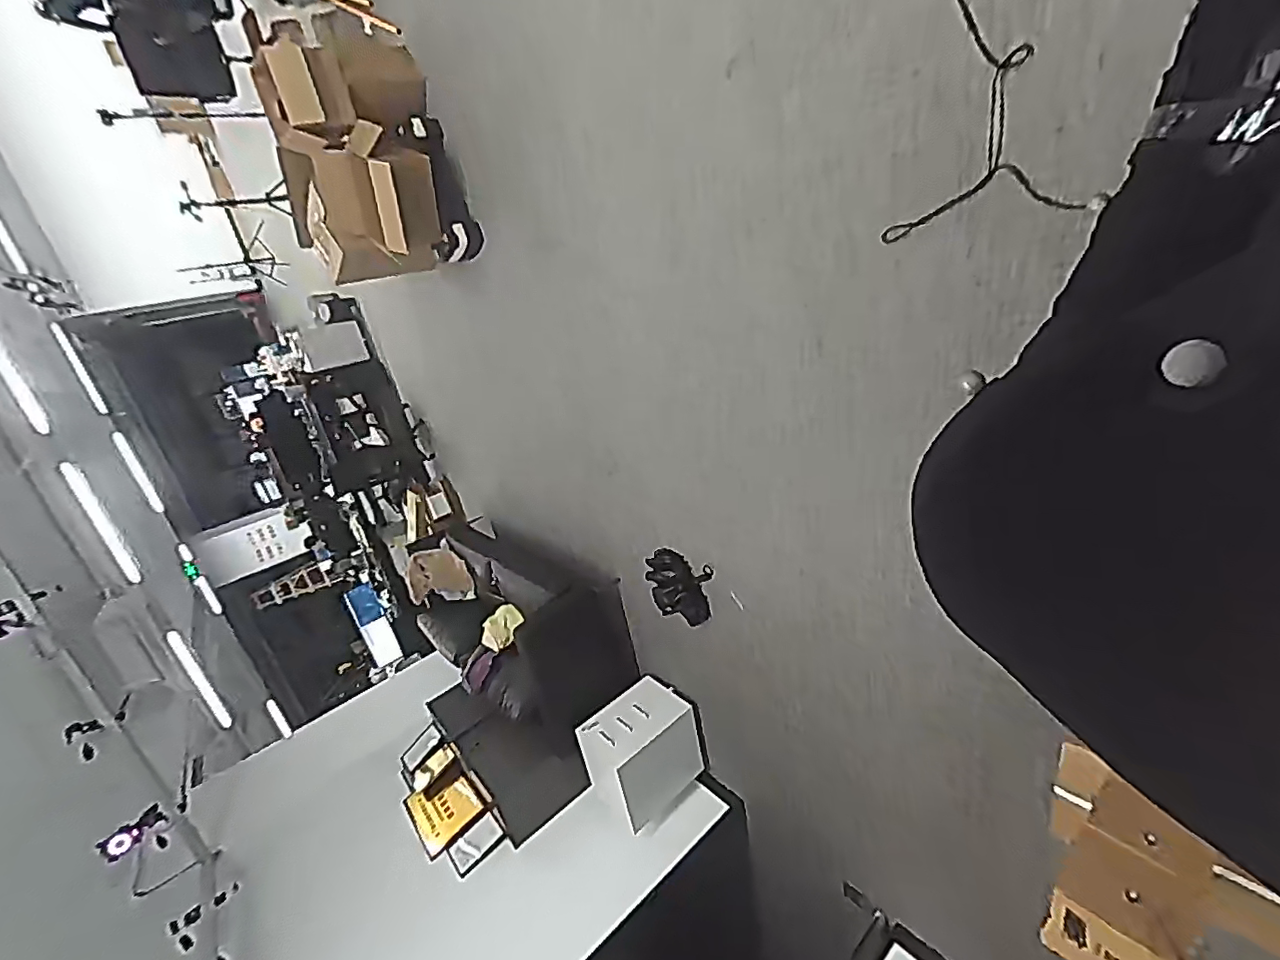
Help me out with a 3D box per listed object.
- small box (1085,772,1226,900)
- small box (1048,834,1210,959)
[{"bbox_3d":[1.014,0.733,1.076,0.179,0.176,0.168,22,127,48],"label":"small box"},{"bbox_3d":[0.890,0.795,0.988,0.179,0.176,0.168,19,125,46],"label":"small box"}]
